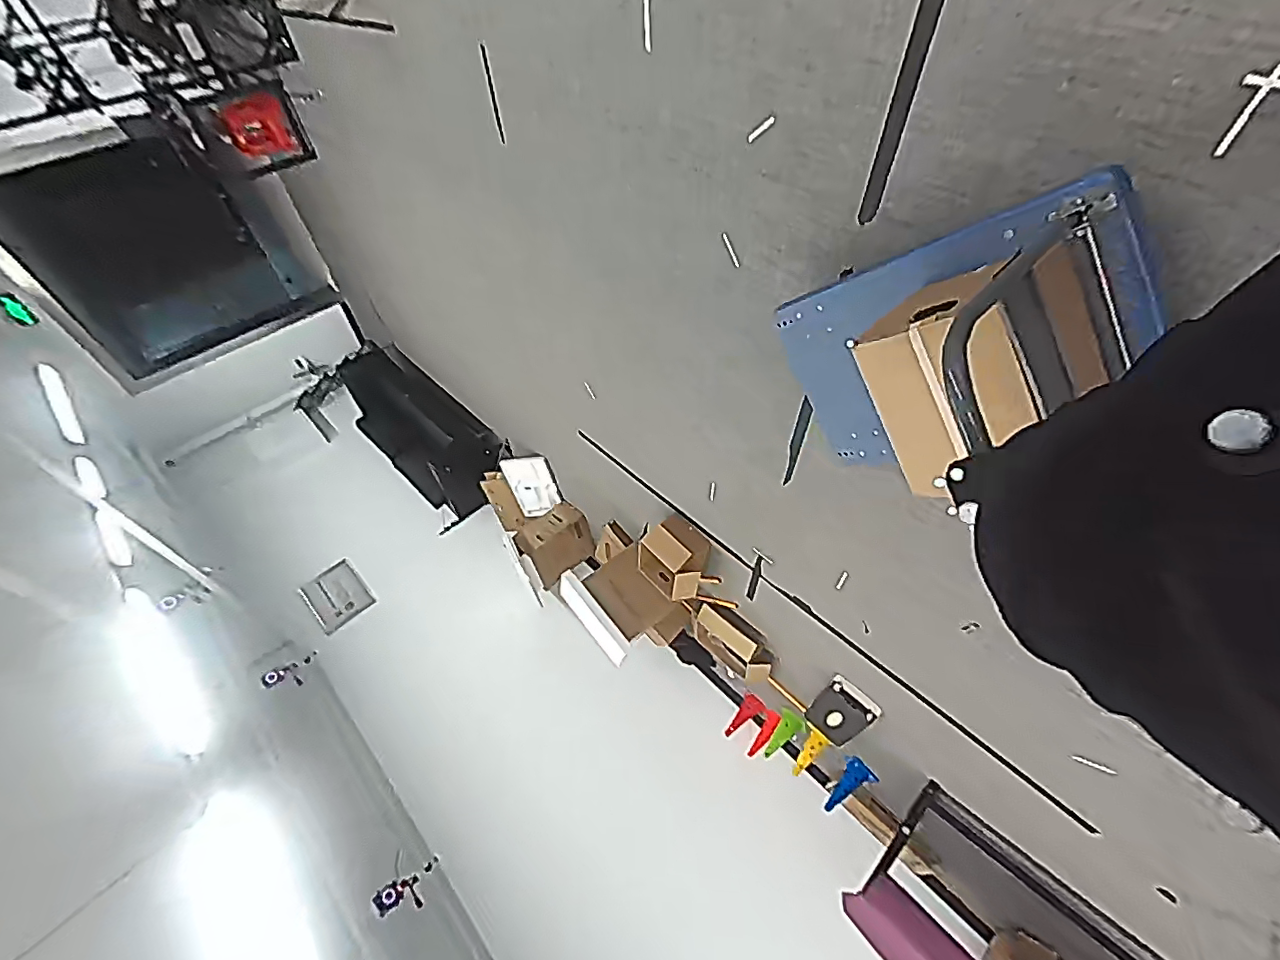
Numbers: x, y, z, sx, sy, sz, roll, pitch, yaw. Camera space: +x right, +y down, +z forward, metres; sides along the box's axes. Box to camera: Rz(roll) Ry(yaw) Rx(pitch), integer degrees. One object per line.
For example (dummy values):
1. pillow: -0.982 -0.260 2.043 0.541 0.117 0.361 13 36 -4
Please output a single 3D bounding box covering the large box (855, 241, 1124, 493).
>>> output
1. large box: 0.750 -0.220 1.165 0.320 0.320 0.408 -4 120 60
